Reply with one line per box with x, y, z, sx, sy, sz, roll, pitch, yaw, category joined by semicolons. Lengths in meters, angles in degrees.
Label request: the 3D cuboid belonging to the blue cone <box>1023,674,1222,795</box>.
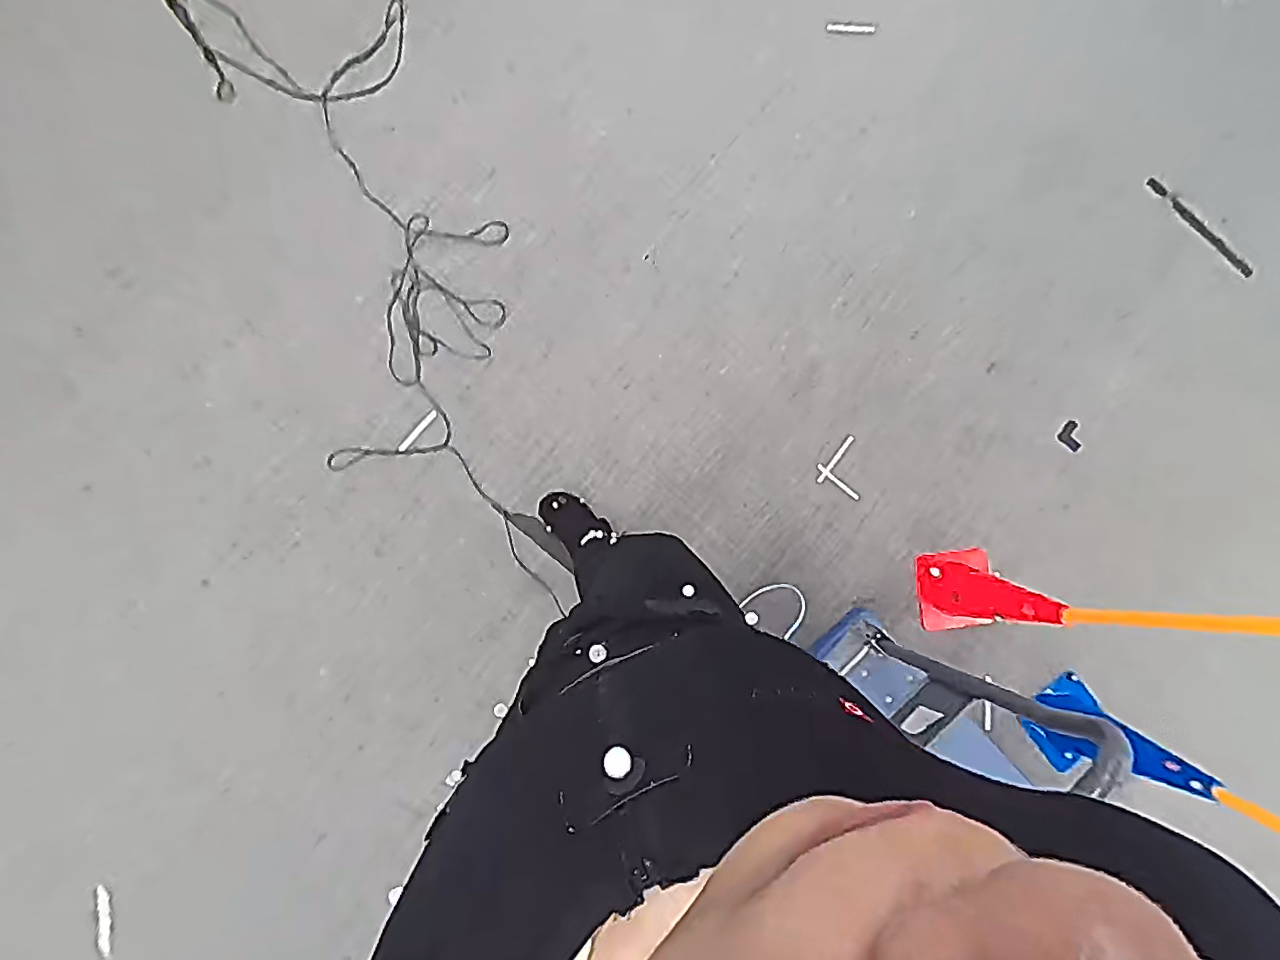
1.121;0.619;1.243;0.193;0.380;0.192;-36;89;-5;blue cone

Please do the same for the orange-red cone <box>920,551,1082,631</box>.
0.836;0.279;1.229;0.198;0.360;0.199;-5;88;-3;orange-red cone
